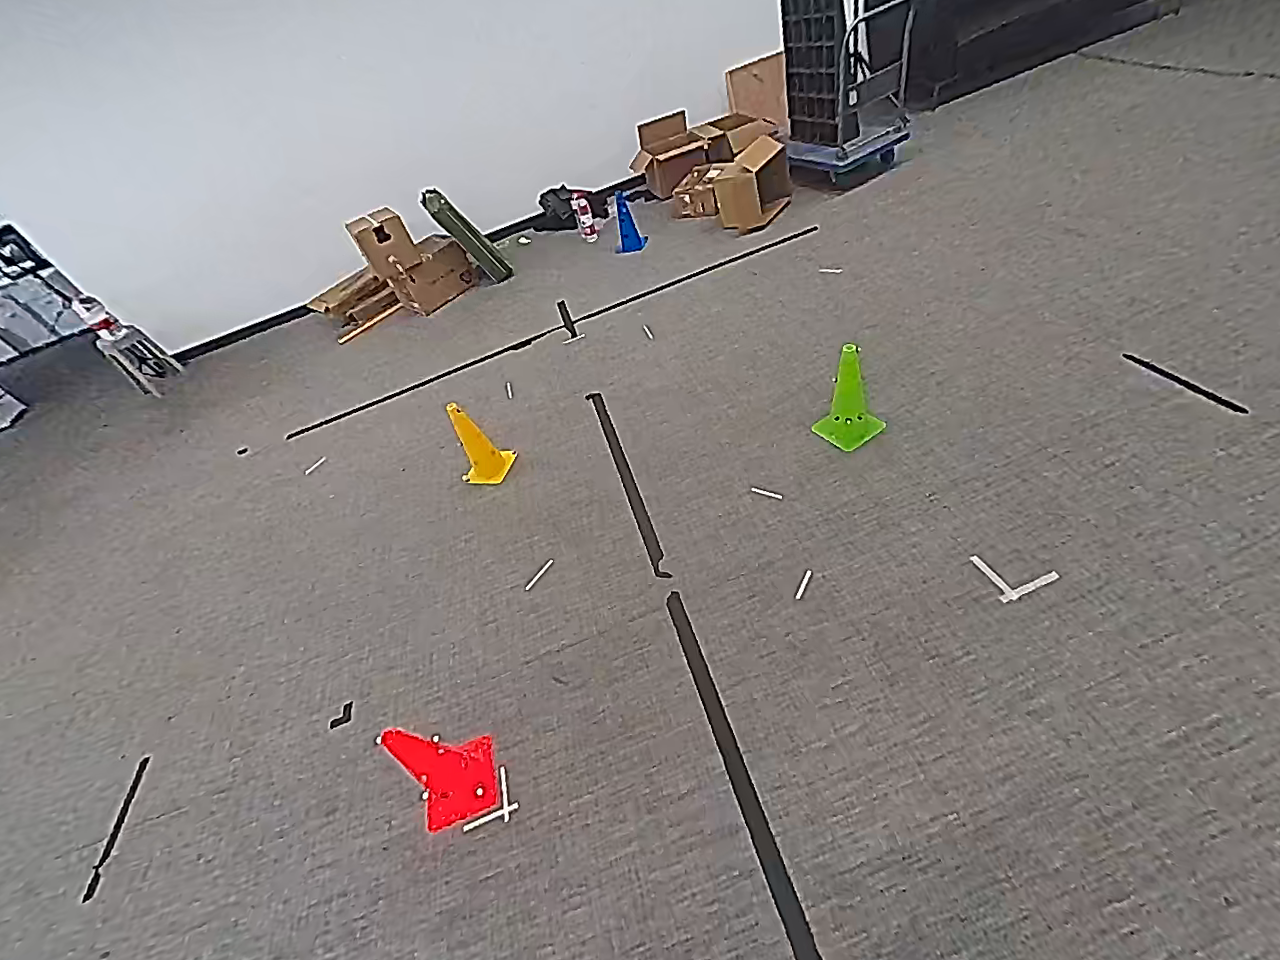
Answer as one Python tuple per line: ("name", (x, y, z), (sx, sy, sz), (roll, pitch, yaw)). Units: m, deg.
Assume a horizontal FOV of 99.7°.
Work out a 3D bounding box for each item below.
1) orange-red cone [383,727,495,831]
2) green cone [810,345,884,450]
("orange-red cone", (-0.535, 0.709, 1.366), (0.198, 0.360, 0.199), (-22, 42, -2))
("green cone", (0.734, -0.318, 1.917), (0.200, 0.368, 0.202), (-33, 46, -12))
